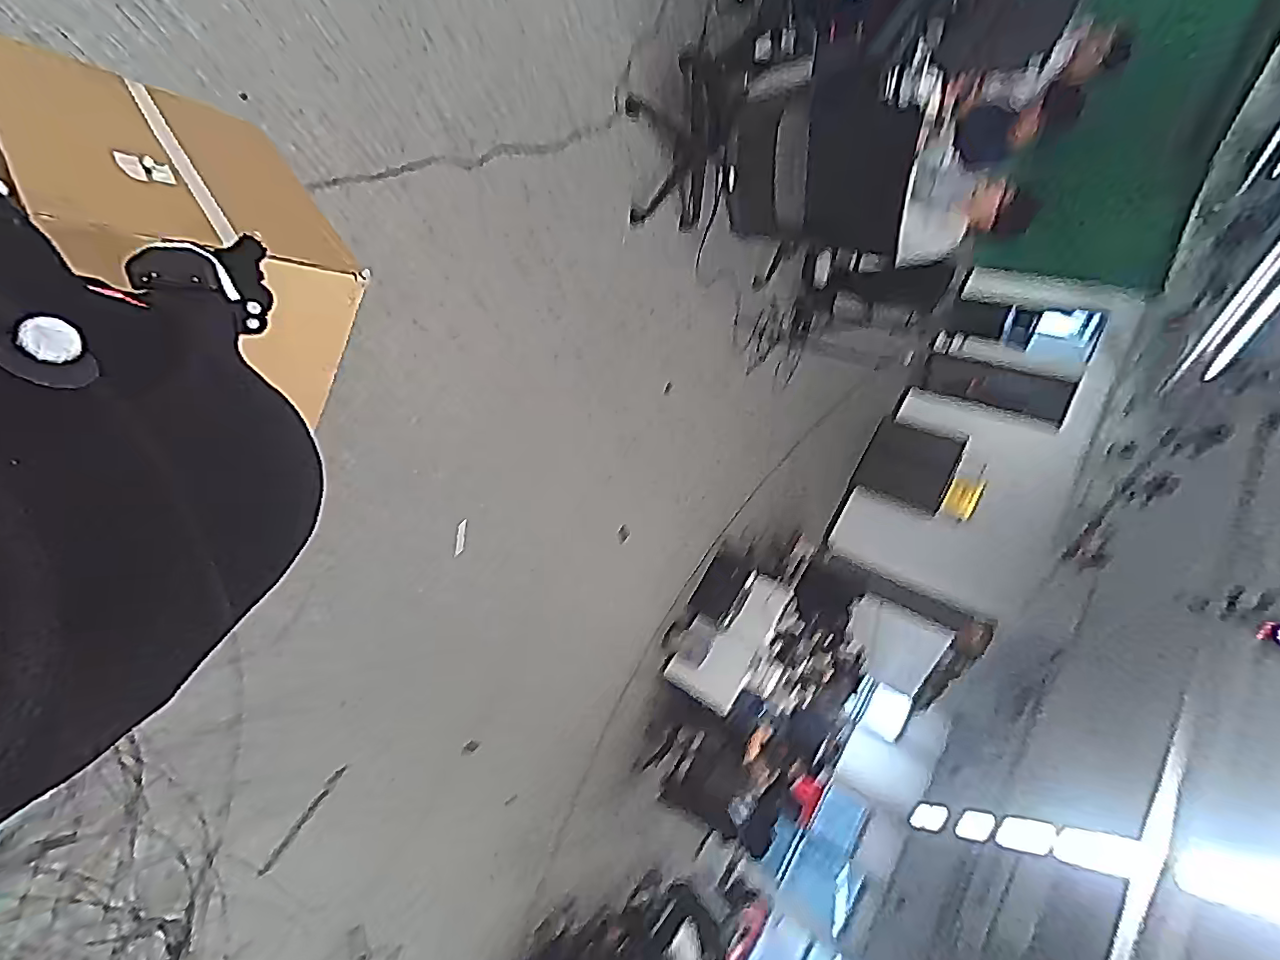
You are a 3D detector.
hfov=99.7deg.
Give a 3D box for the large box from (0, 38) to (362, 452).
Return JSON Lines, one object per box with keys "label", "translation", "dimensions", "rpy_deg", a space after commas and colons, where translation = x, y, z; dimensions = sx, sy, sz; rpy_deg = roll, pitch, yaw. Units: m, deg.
{"label": "large box", "translation": [-0.666, -0.295, 0.748], "dimensions": [0.320, 0.408, 0.320], "rpy_deg": [-14, 149, -53]}
